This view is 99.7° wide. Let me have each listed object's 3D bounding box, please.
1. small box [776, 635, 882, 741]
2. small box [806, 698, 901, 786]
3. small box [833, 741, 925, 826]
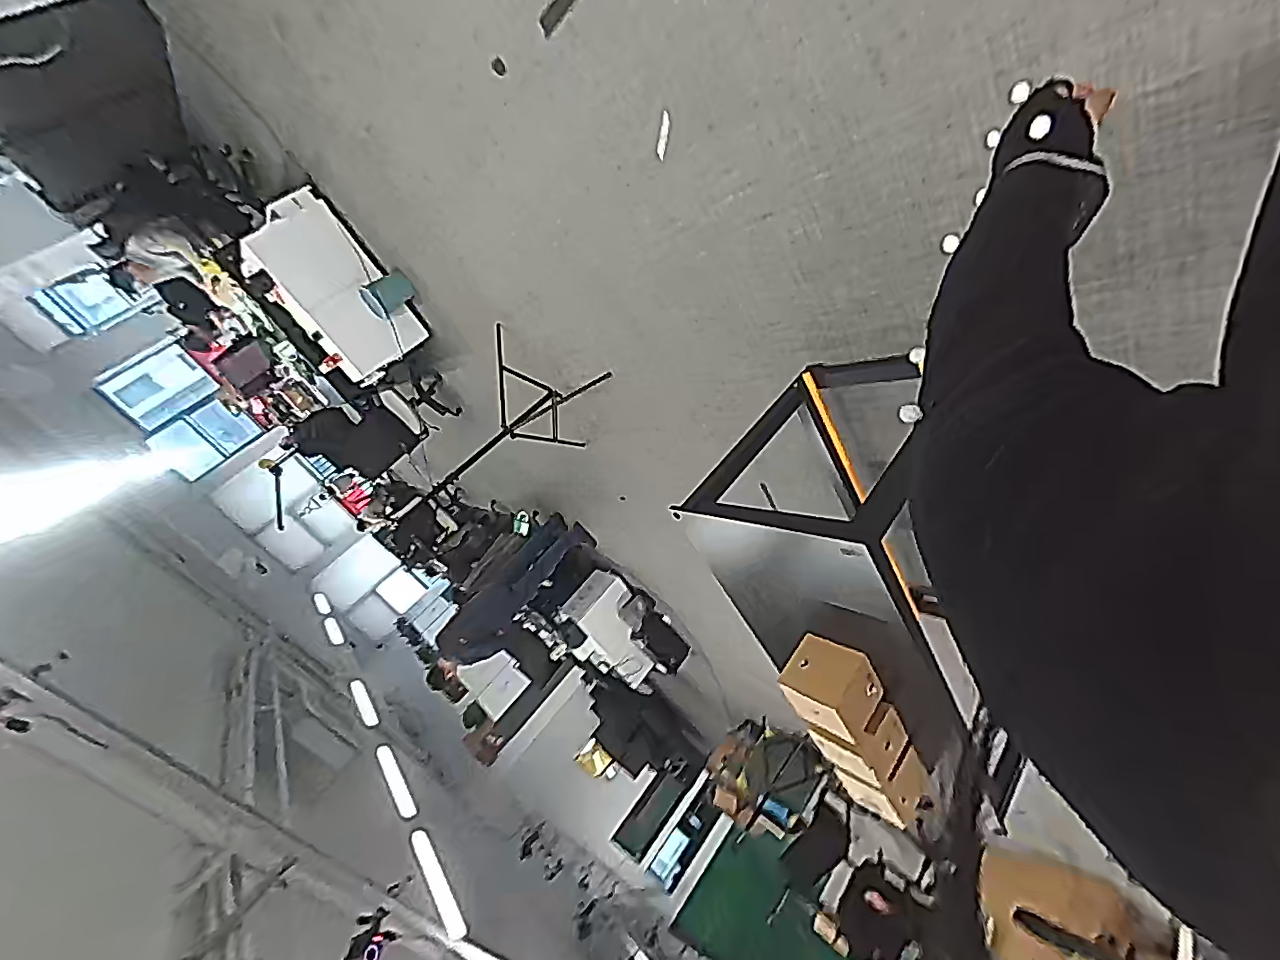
[{"bbox_3d":[0.495,0.532,1.412,0.179,0.176,0.168,7,138,53],"label":"small box"},{"bbox_3d":[0.605,0.702,1.511,0.179,0.176,0.168,7,137,53],"label":"small box"},{"bbox_3d":[0.712,0.865,1.602,0.168,0.176,0.179,4,134,56],"label":"small box"}]
